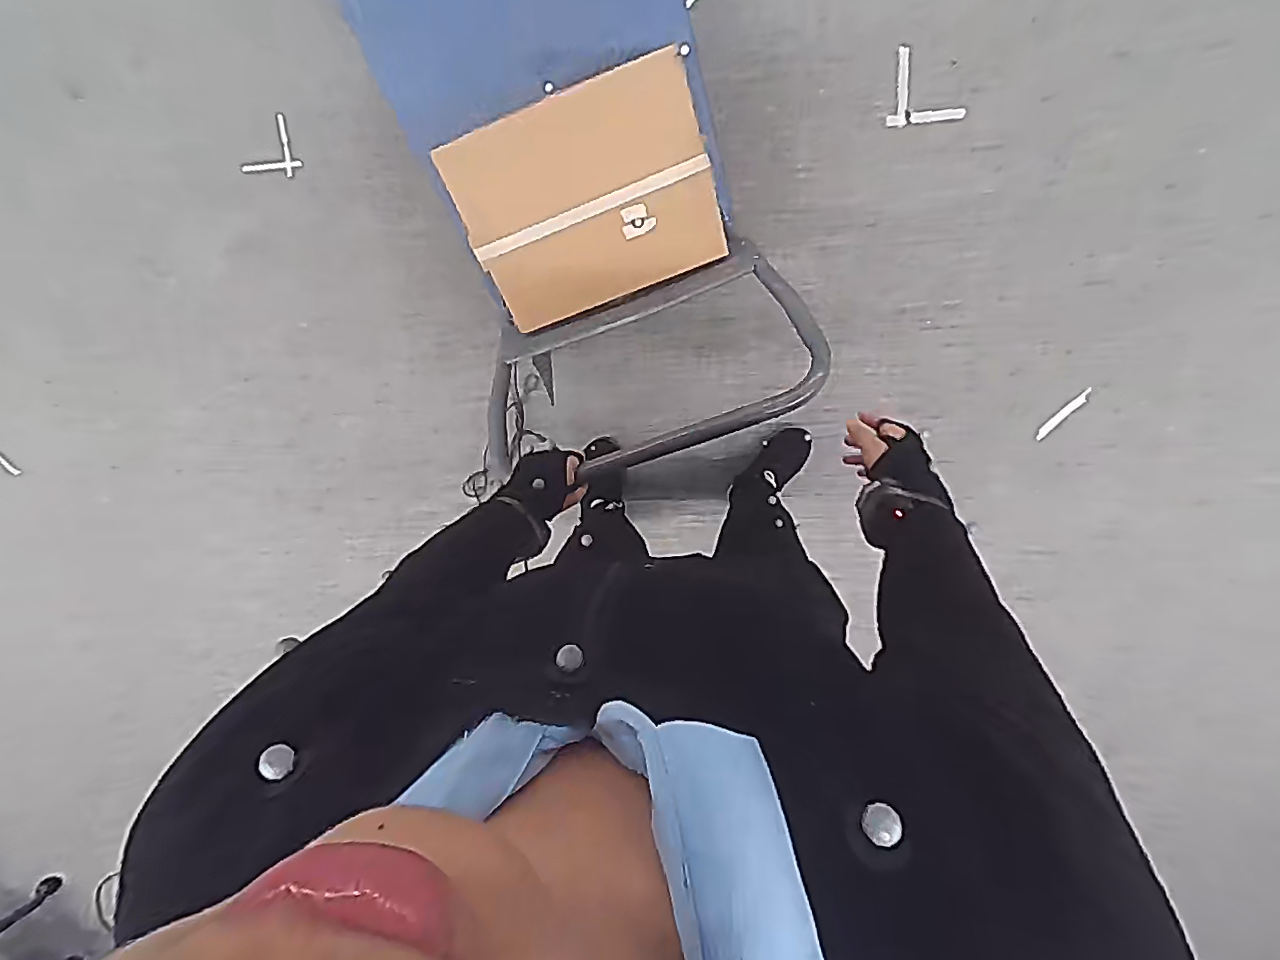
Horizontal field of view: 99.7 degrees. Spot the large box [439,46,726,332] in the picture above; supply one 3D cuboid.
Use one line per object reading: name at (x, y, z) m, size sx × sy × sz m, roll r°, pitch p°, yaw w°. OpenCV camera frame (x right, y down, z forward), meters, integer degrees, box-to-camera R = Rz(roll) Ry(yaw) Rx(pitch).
large box at (-0.098, -0.540, 1.019) m, size 0.408 × 0.320 × 0.320 m, roll -20°, pitch 127°, yaw 6°
